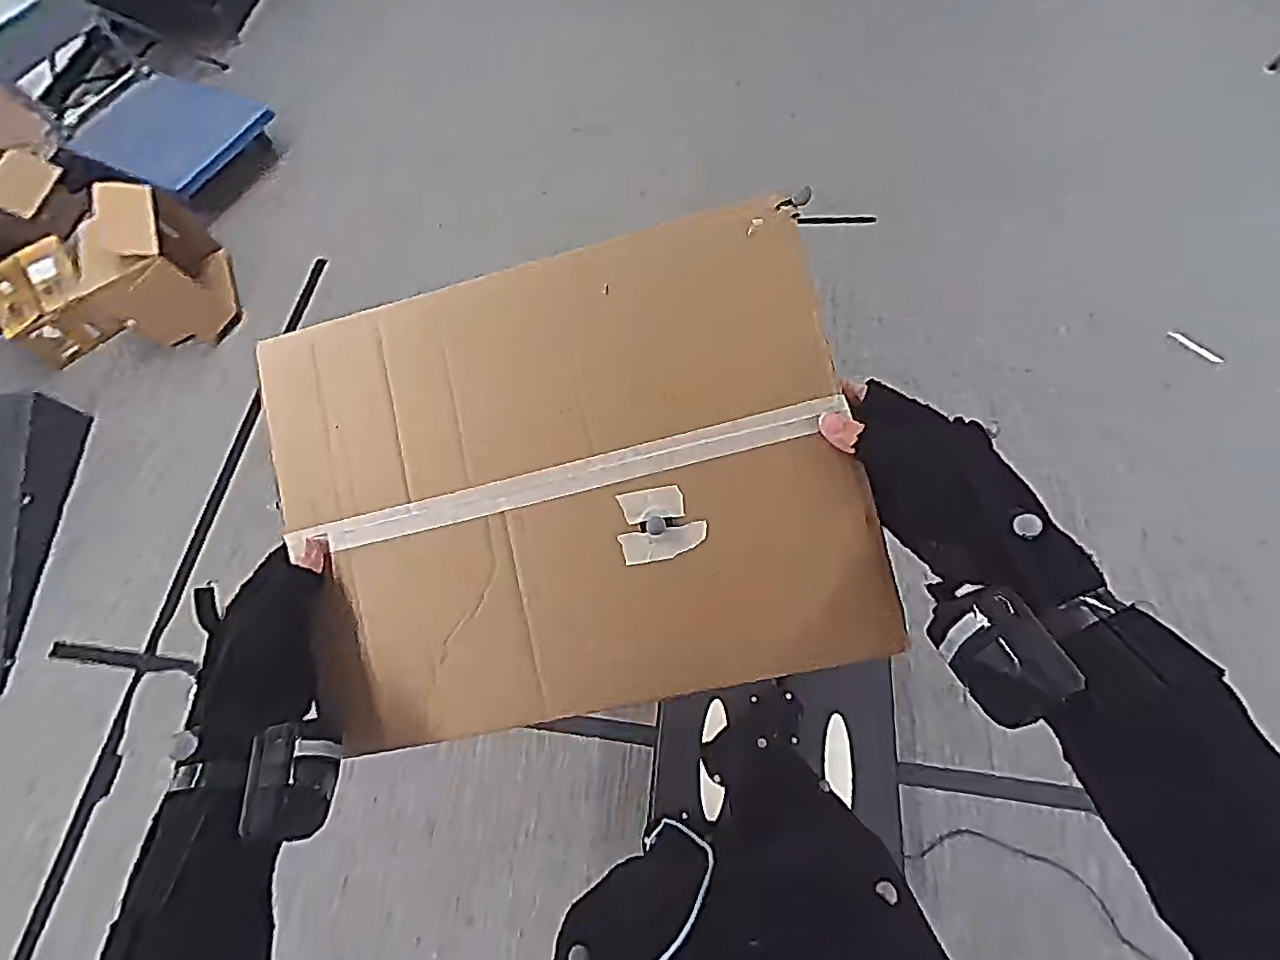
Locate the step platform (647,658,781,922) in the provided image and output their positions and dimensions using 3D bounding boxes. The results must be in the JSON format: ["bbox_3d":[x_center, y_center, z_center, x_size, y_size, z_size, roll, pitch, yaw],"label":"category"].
[{"bbox_3d":[0.187,0.631,1.309,0.286,0.204,0.684,3,66,8],"label":"step platform"}]

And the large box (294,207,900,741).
[{"bbox_3d":[-0.033,0.010,0.538,0.408,0.320,0.320,-13,85,6],"label":"large box"}]
